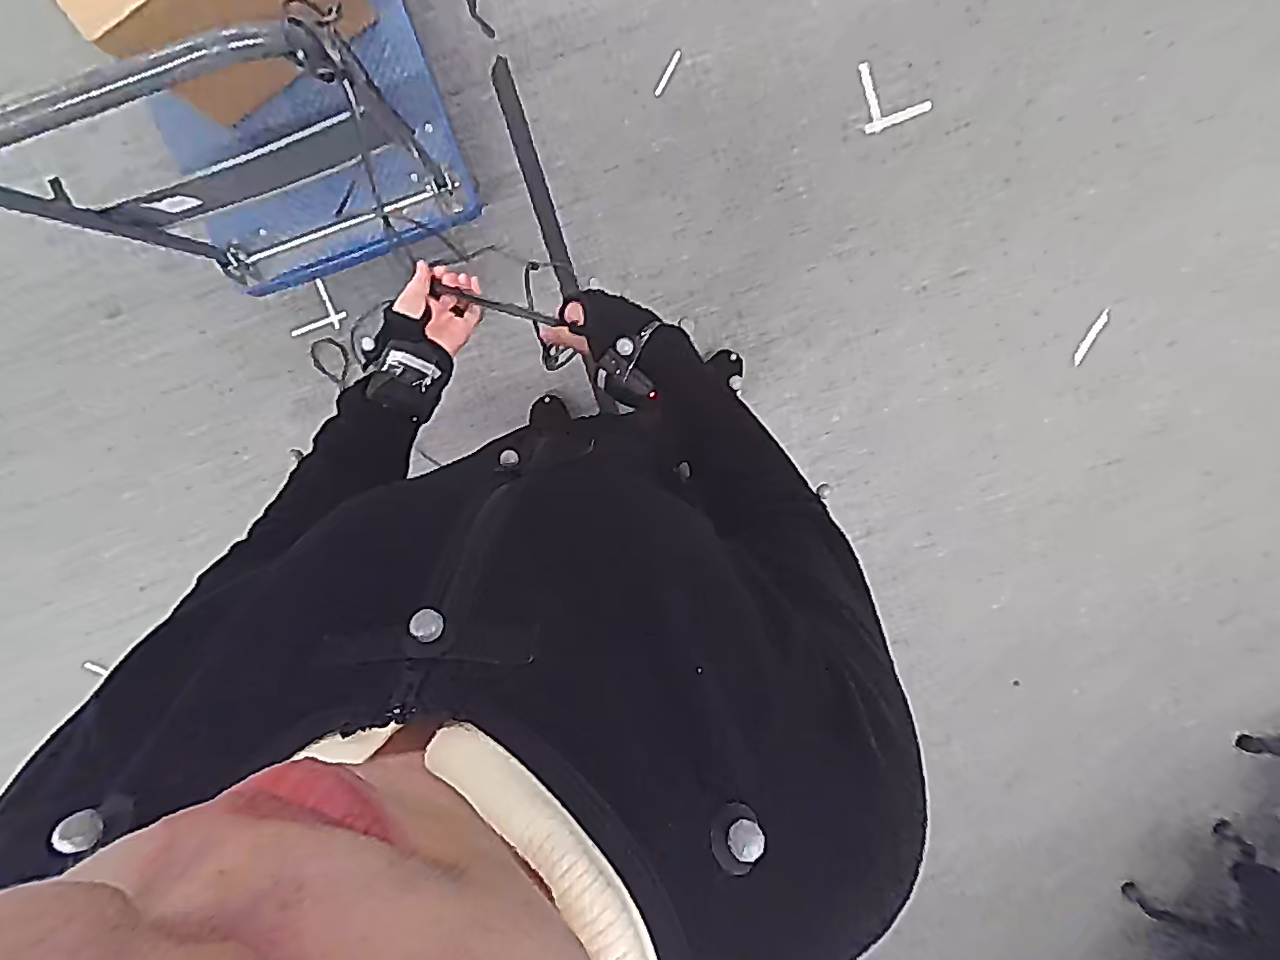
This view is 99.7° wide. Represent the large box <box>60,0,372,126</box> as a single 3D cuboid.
[{"bbox_3d":[-0.784,-0.941,0.951,0.408,0.320,0.320,-33,101,3],"label":"large box"}]
